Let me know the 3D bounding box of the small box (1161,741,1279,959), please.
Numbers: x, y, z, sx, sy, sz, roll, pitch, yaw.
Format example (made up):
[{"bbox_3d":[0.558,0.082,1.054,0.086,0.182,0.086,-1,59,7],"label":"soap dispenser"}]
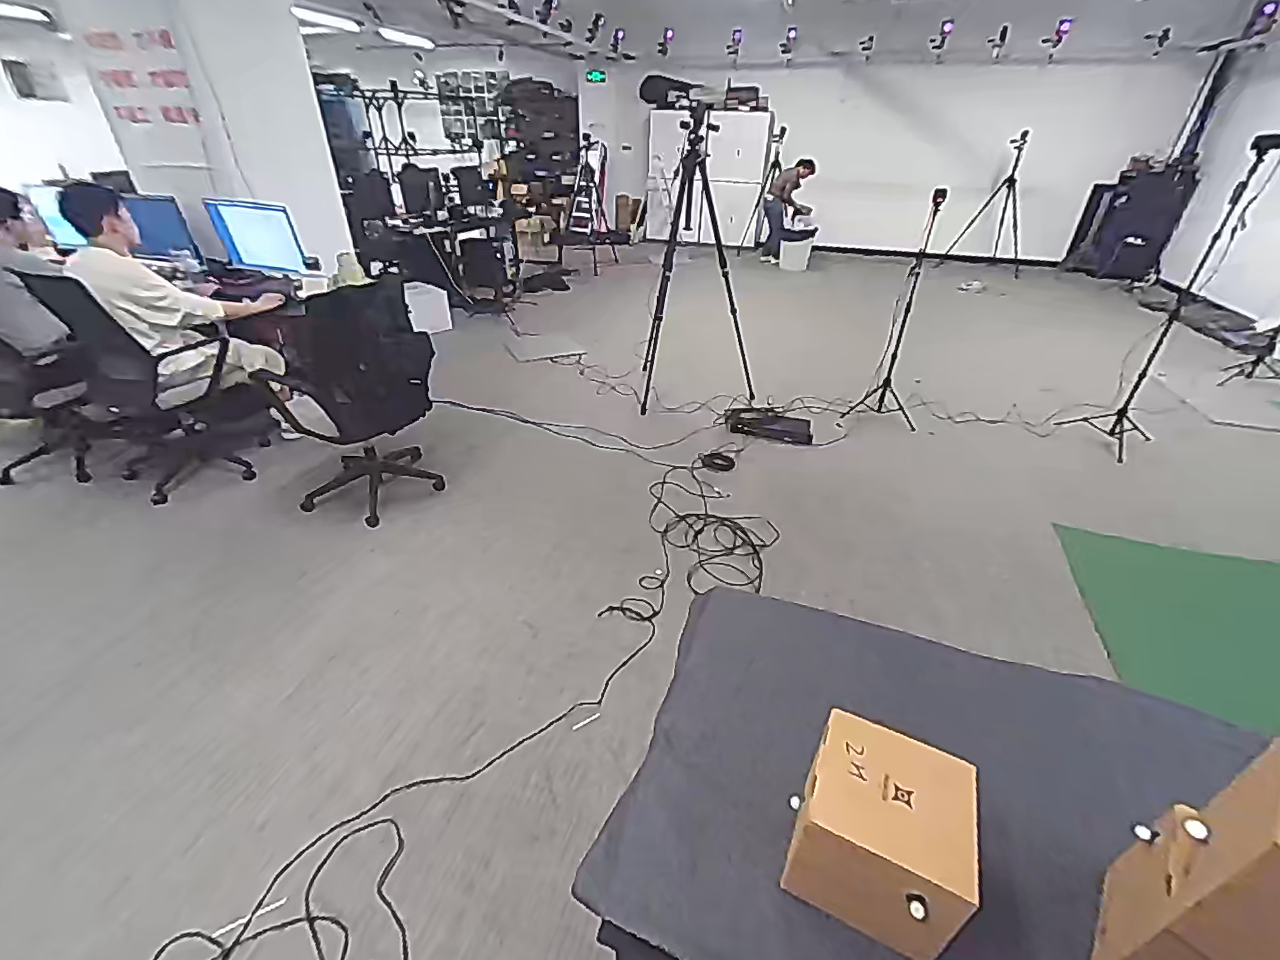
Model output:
[{"bbox_3d":[0.622,0.372,0.471,0.168,0.176,0.179,-22,39,-34],"label":"small box"}]

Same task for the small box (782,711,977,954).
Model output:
[{"bbox_3d":[0.292,0.435,0.672,0.179,0.176,0.168,16,34,22],"label":"small box"}]

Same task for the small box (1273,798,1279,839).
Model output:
[{"bbox_3d":[0.624,0.233,0.387,0.168,0.176,0.179,-24,40,-36],"label":"small box"}]
